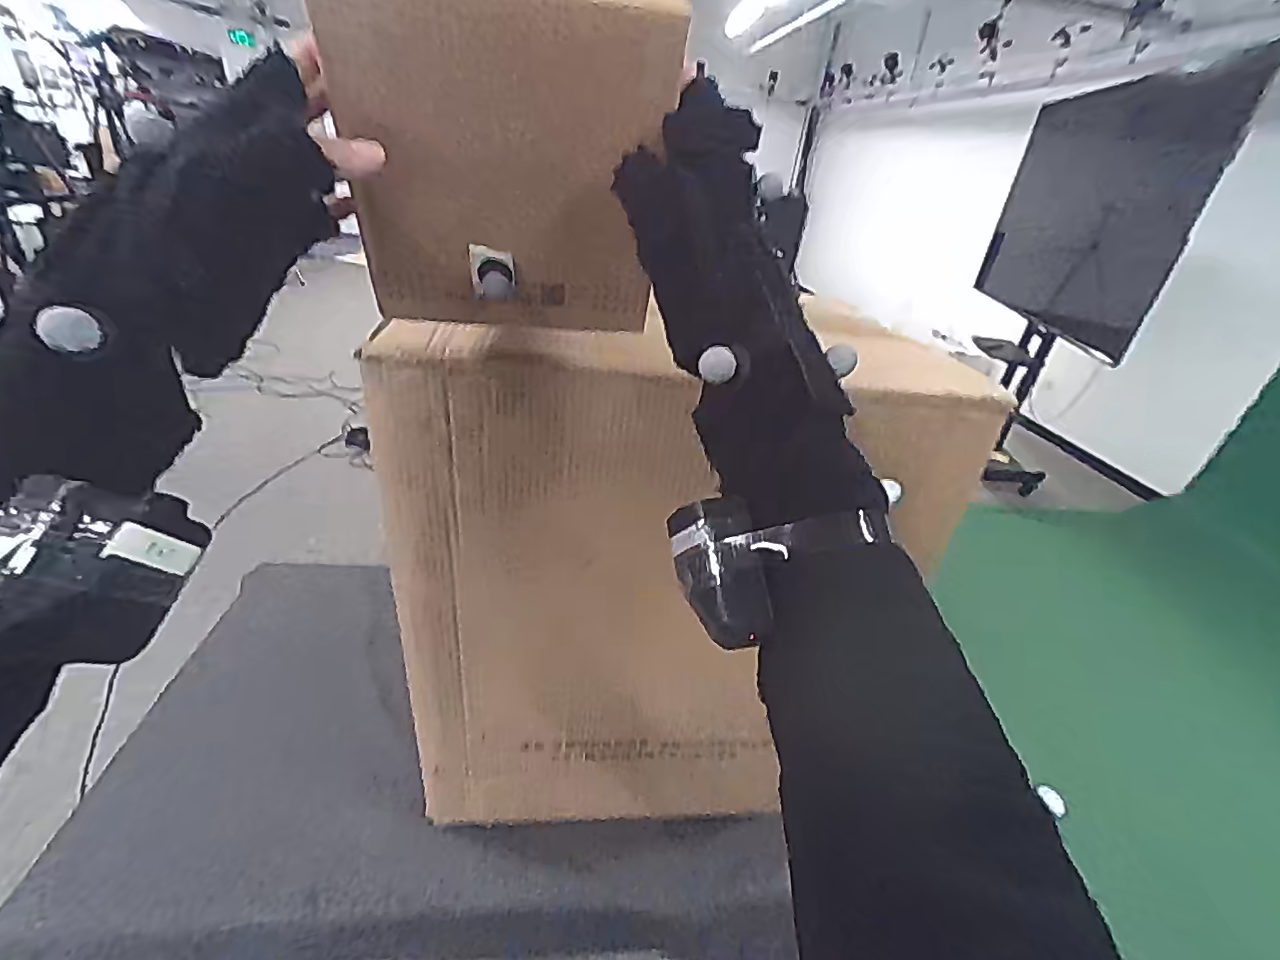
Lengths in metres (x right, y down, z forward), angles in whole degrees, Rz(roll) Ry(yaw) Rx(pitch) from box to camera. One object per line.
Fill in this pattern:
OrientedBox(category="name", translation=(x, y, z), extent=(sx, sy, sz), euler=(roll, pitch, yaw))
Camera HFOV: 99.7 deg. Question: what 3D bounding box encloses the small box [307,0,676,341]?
OrientedBox(category="small box", translation=(-0.082, -0.211, 0.353), extent=(0.168, 0.176, 0.179), euler=(-2, 48, -9))
